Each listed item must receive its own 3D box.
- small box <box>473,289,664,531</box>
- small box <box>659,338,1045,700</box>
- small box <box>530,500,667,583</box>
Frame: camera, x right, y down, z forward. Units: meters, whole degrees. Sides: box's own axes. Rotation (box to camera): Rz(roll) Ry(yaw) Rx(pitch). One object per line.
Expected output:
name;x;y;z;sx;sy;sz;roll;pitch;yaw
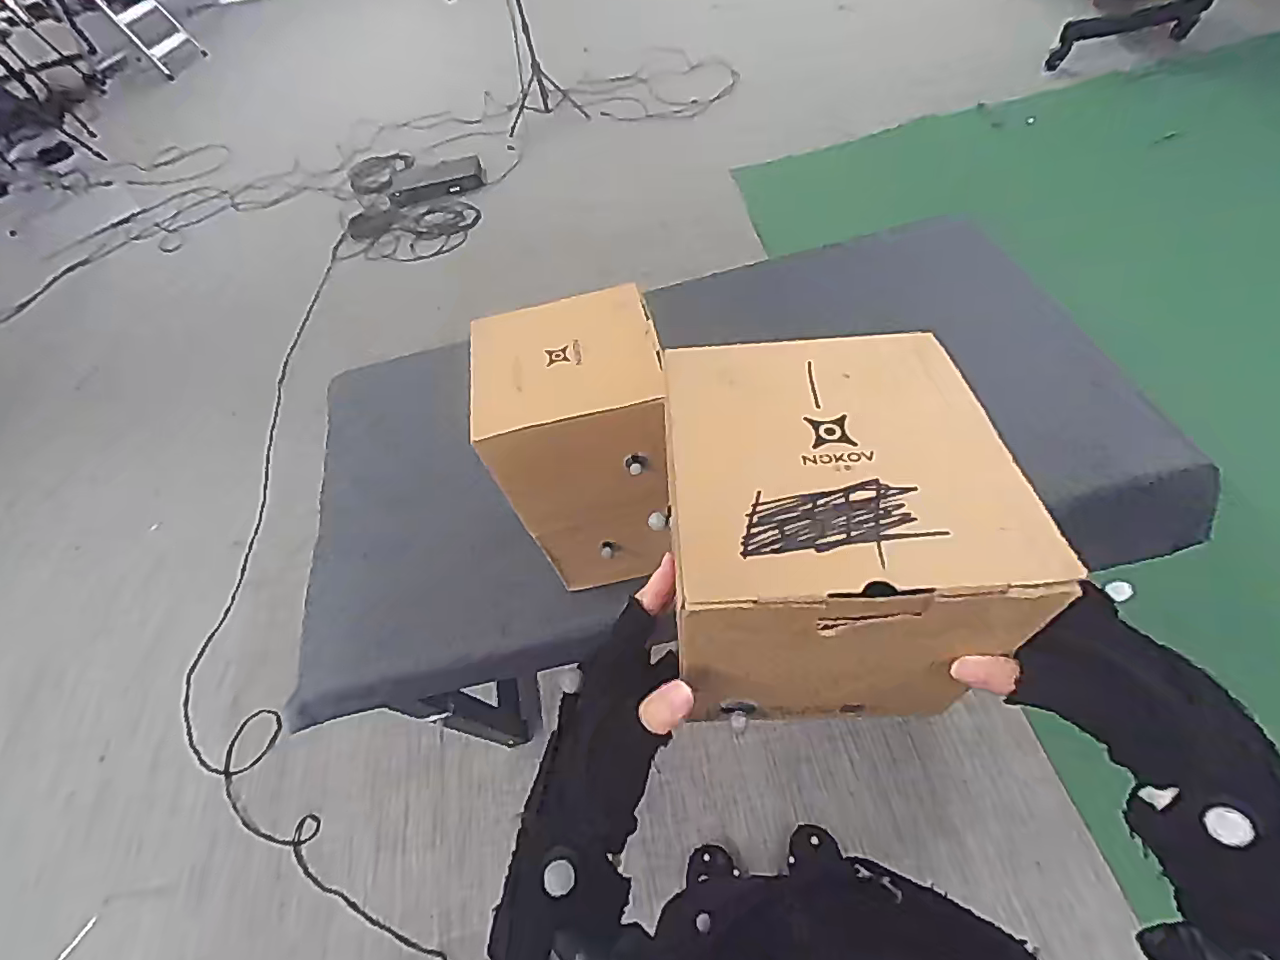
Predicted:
small box;-0.061;-0.067;0.575;0.179;0.176;0.168;-13;54;2
small box;0.100;0.033;0.350;0.168;0.176;0.179;-3;50;2
small box;-0.038;0.020;0.710;0.179;0.176;0.168;-13;55;2
